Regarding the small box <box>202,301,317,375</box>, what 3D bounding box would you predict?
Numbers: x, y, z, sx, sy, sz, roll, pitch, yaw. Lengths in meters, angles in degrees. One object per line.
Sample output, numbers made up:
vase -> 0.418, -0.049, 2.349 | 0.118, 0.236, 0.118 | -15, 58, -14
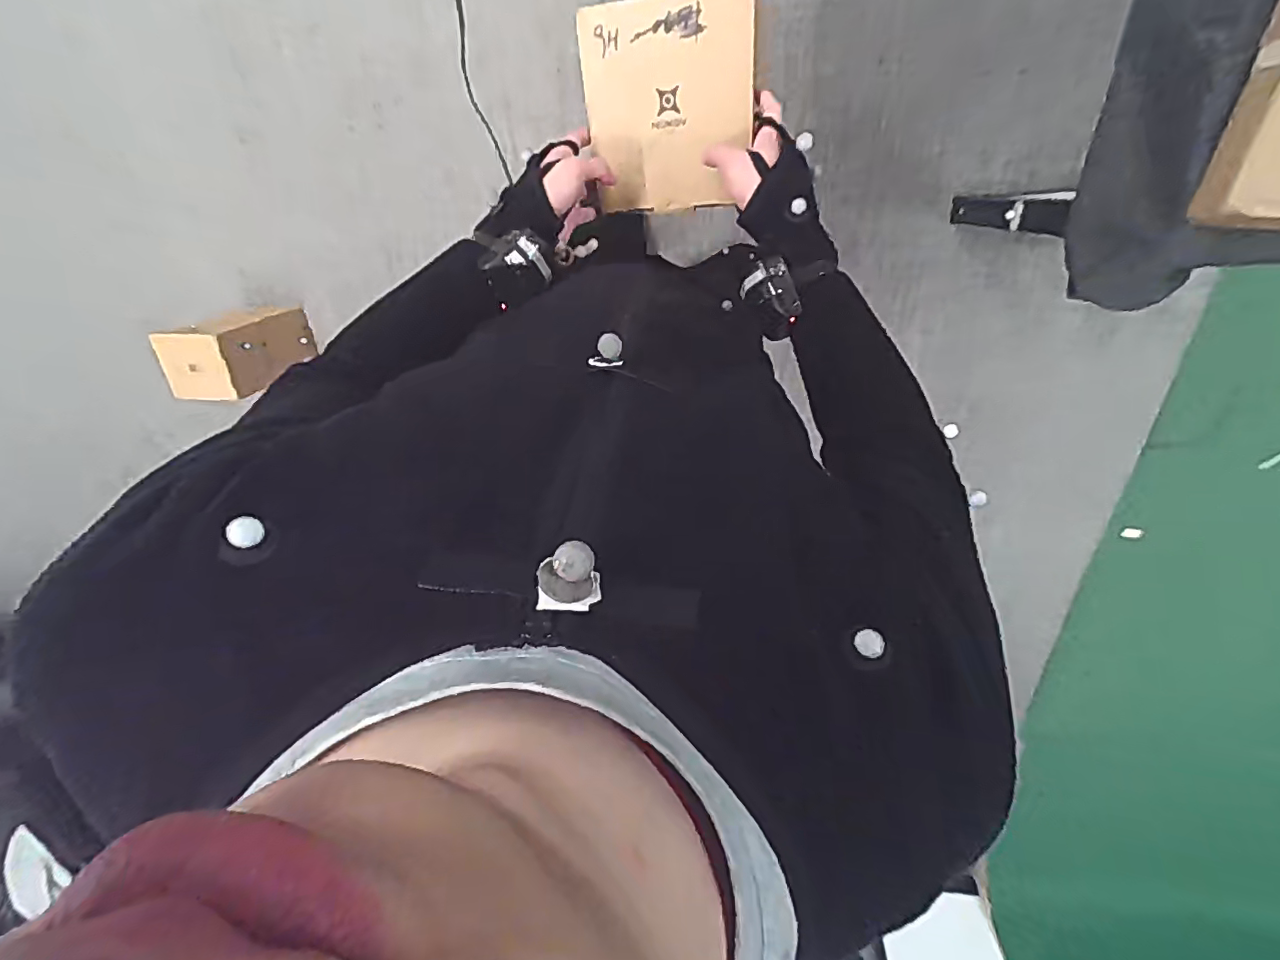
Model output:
small box -> -1.060, -0.402, 1.522 | 0.179, 0.176, 0.168 | 0, 121, 7

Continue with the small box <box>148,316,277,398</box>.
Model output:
small box -> -1.074, -0.319, 1.383 | 0.179, 0.176, 0.168 | 2, 120, 8

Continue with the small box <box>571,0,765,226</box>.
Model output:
small box -> 0.043, -0.388, 0.577 | 0.168, 0.176, 0.179 | 4, 129, 14
